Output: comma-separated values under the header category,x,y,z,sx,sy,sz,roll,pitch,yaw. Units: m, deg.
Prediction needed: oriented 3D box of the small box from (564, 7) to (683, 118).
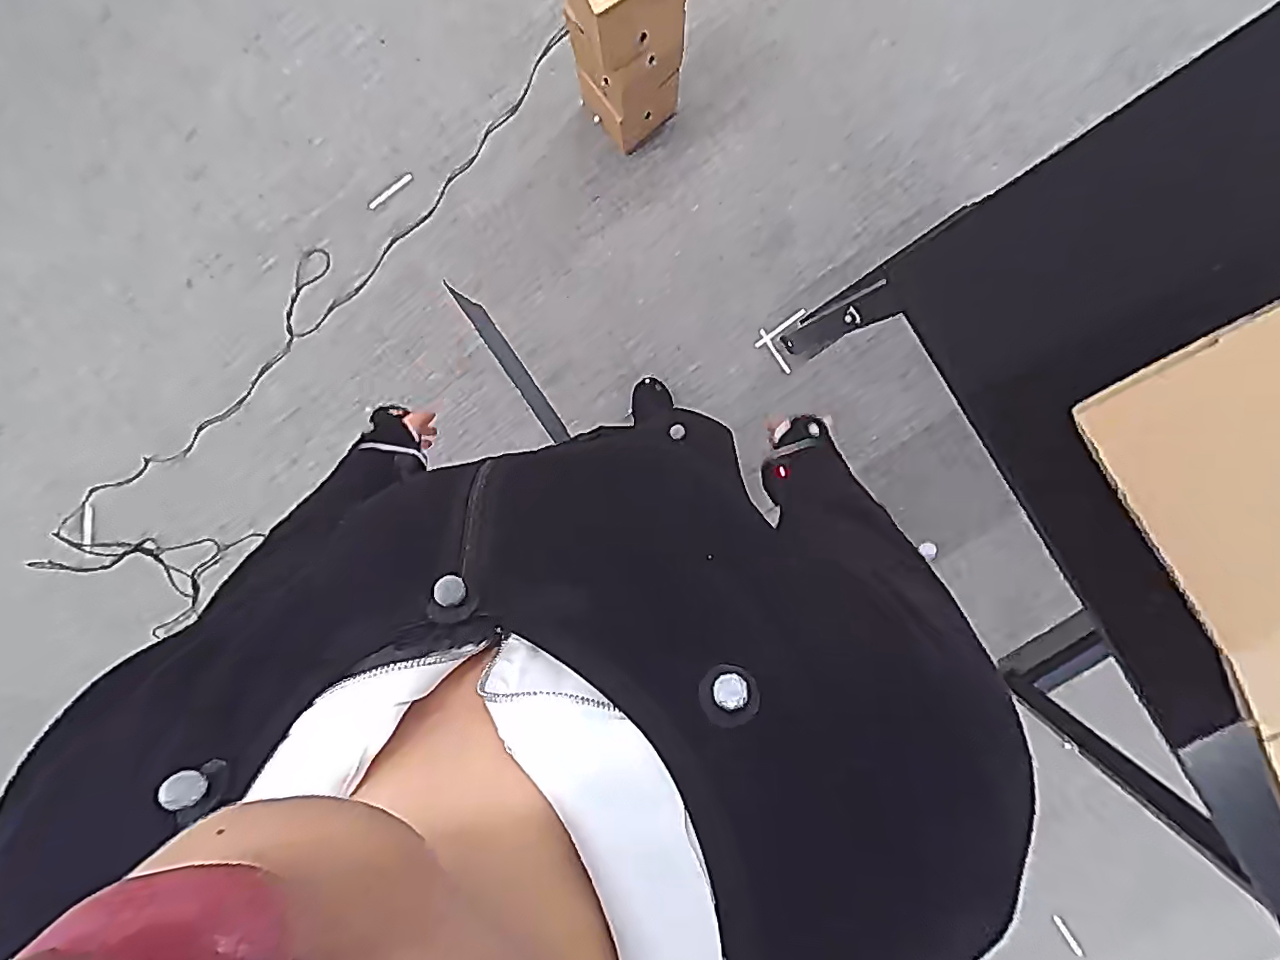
category,x,y,z,sx,sy,sz,roll,pitch,yaw
small box,-0.029,-0.903,1.113,0.179,0.176,0.168,-41,96,5

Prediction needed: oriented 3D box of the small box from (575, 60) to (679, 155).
category,x,y,z,sx,sy,sz,roll,pitch,yaw
small box,-0.027,-0.921,1.275,0.179,0.176,0.168,-38,95,7

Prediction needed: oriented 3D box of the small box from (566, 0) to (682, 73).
category,x,y,z,sx,sy,sz,roll,pitch,yaw
small box,-0.033,-0.879,0.951,0.179,0.176,0.168,-27,97,4
